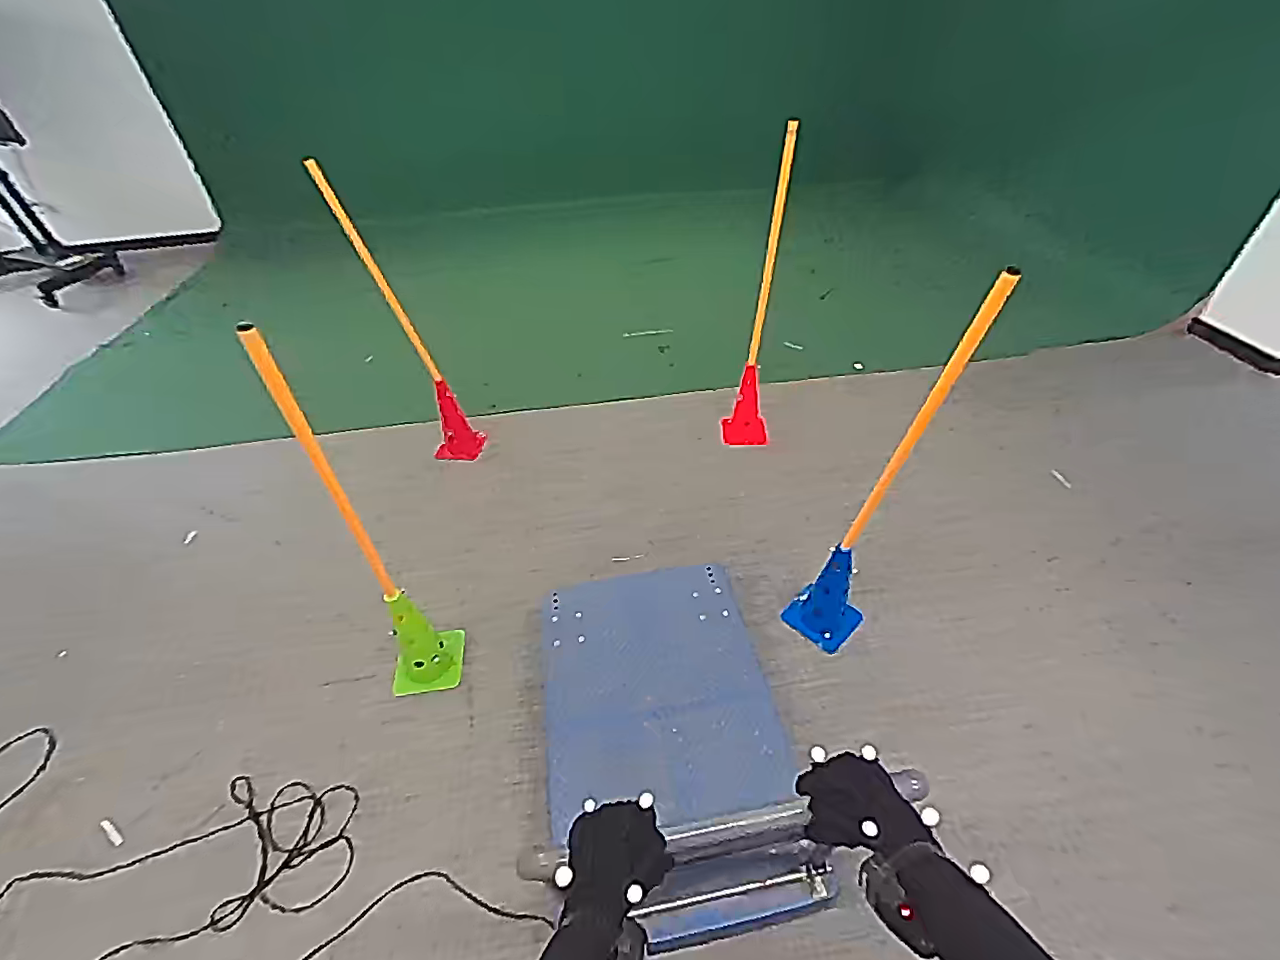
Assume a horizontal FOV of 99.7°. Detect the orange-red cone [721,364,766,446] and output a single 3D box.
[{"bbox_3d":[0.463,-0.340,2.347,0.198,0.360,0.199,0,43,5],"label":"orange-red cone"}]
